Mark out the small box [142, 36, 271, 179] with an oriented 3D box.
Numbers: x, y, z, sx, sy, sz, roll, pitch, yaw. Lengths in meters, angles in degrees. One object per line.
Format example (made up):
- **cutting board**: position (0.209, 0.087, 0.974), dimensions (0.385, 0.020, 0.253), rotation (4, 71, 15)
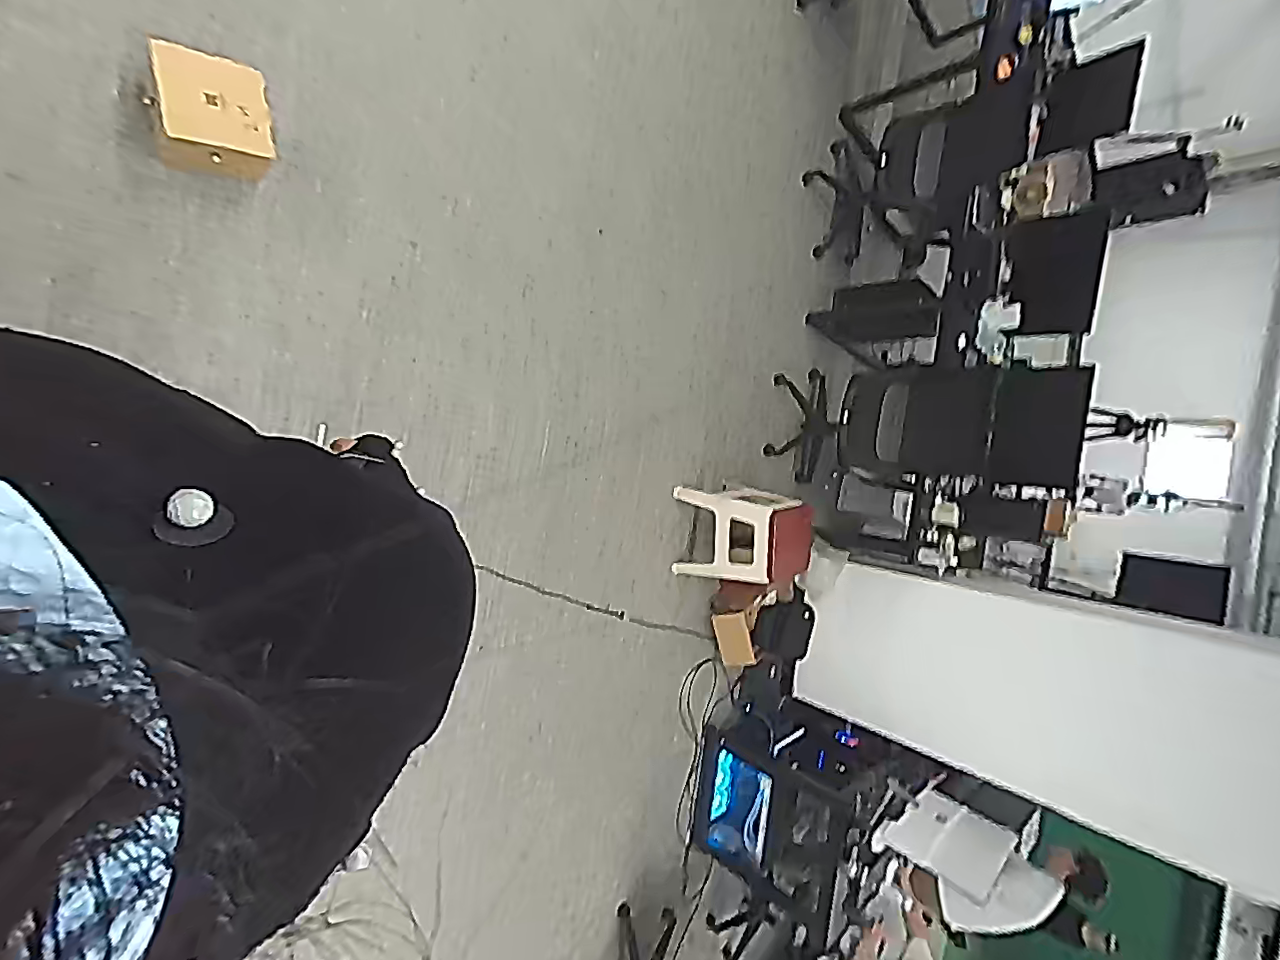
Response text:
- **small box**: position (-0.876, -0.732, 1.090), dimensions (0.179, 0.176, 0.168), rotation (-12, 104, -44)
